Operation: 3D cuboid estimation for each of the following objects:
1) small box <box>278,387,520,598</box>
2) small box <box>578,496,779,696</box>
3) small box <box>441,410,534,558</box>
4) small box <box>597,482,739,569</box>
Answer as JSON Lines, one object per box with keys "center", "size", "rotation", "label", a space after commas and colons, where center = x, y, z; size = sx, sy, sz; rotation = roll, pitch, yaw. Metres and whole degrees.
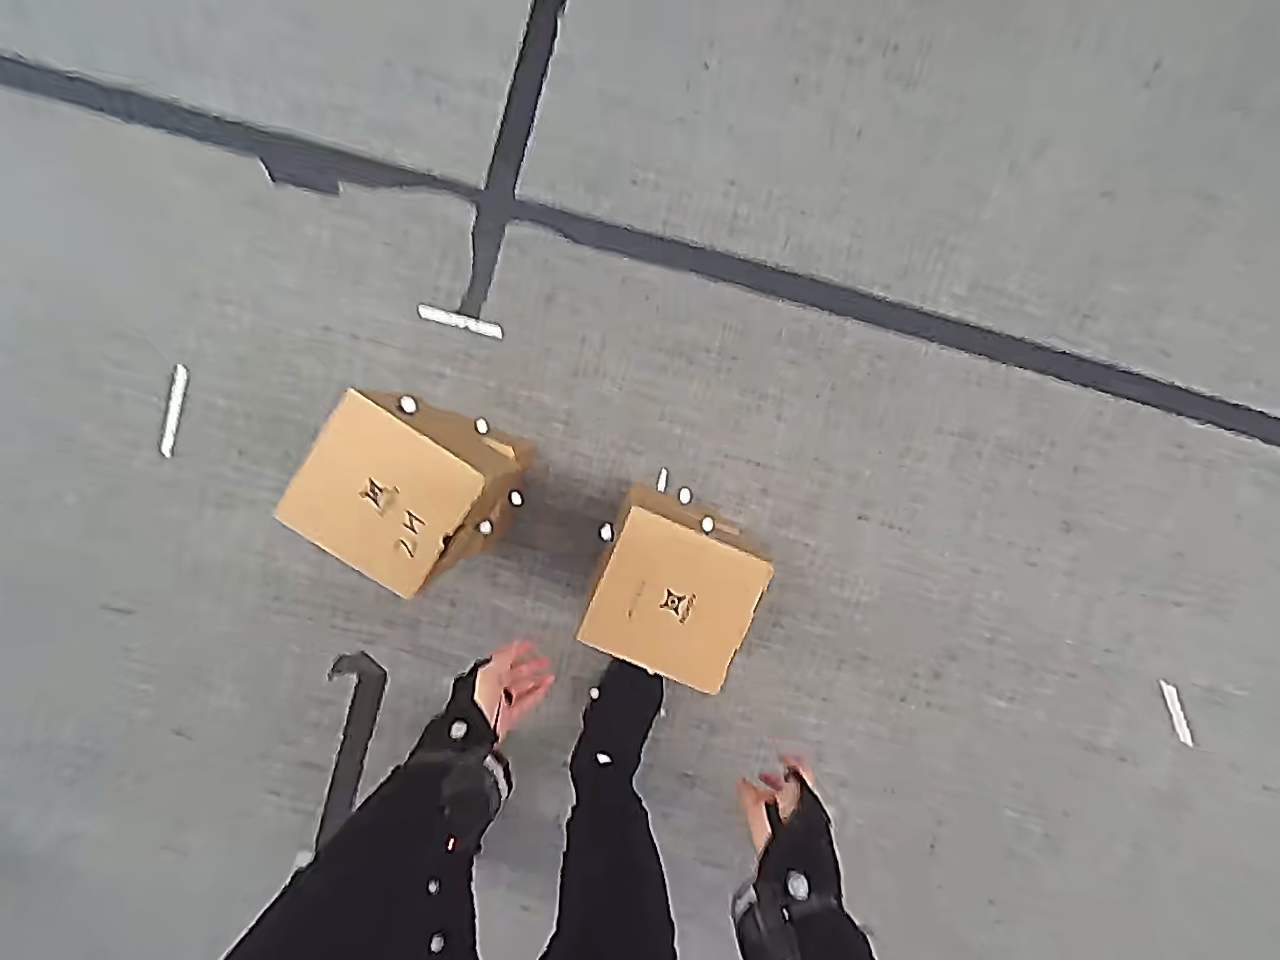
{"center": [-0.272, 0.009, 0.654], "size": [0.179, 0.176, 0.168], "rotation": [34, 95, -4], "label": "small box"}
{"center": [0.041, 0.130, 0.676], "size": [0.179, 0.176, 0.168], "rotation": [24, 94, -3], "label": "small box"}
{"center": [-0.275, -0.005, 0.819], "size": [0.179, 0.176, 0.168], "rotation": [22, 95, -4], "label": "small box"}
{"center": [0.033, 0.116, 0.838], "size": [0.168, 0.176, 0.179], "rotation": [23, 94, -4], "label": "small box"}
